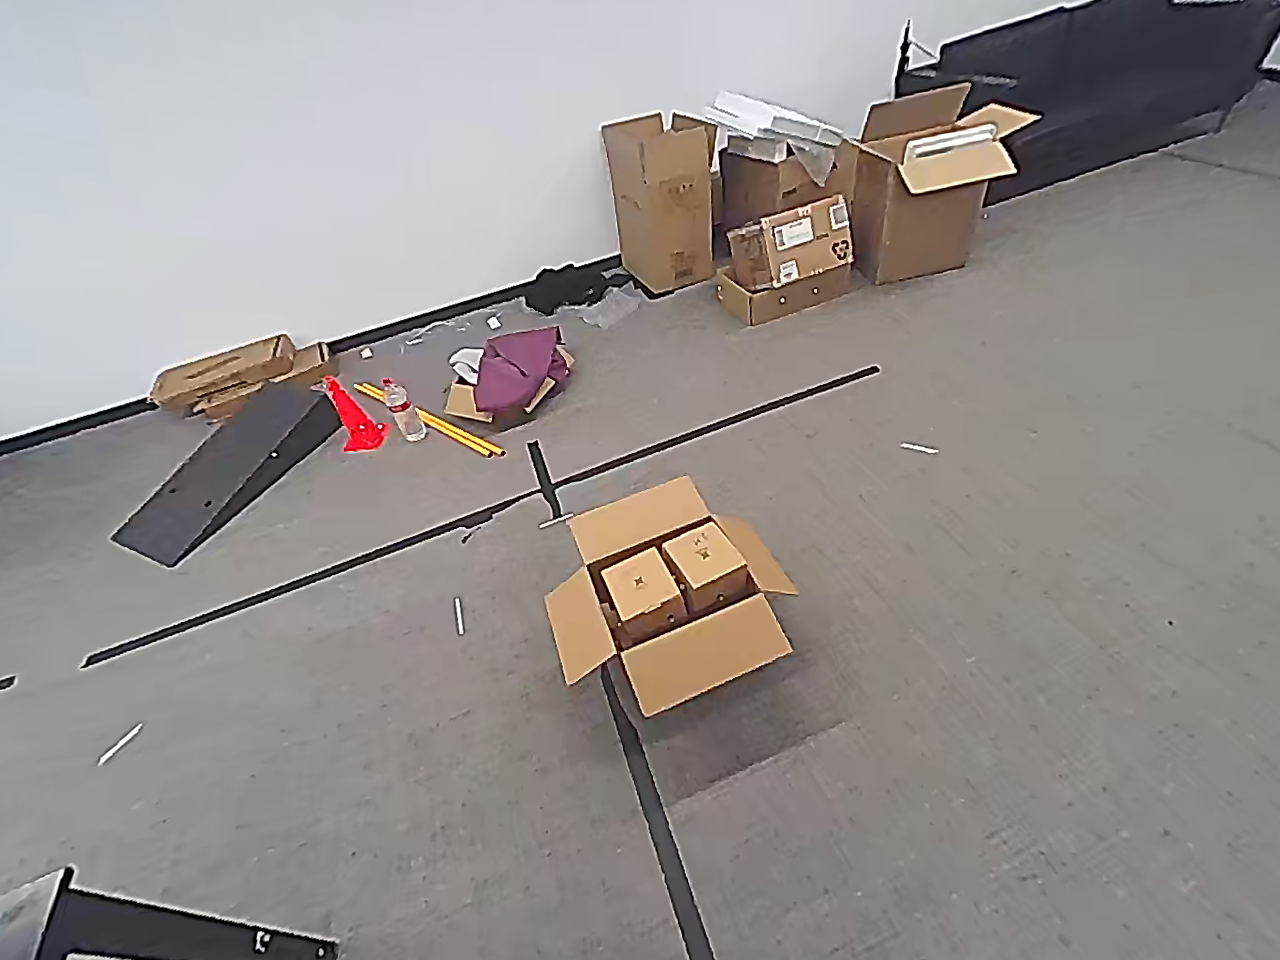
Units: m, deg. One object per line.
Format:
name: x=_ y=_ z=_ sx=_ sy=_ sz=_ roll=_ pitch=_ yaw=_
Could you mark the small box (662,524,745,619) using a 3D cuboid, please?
small box: x=0.175 y=0.260 z=1.501 sx=0.168 sy=0.176 sz=0.179 roll=-22 pitch=45 yaw=-16
